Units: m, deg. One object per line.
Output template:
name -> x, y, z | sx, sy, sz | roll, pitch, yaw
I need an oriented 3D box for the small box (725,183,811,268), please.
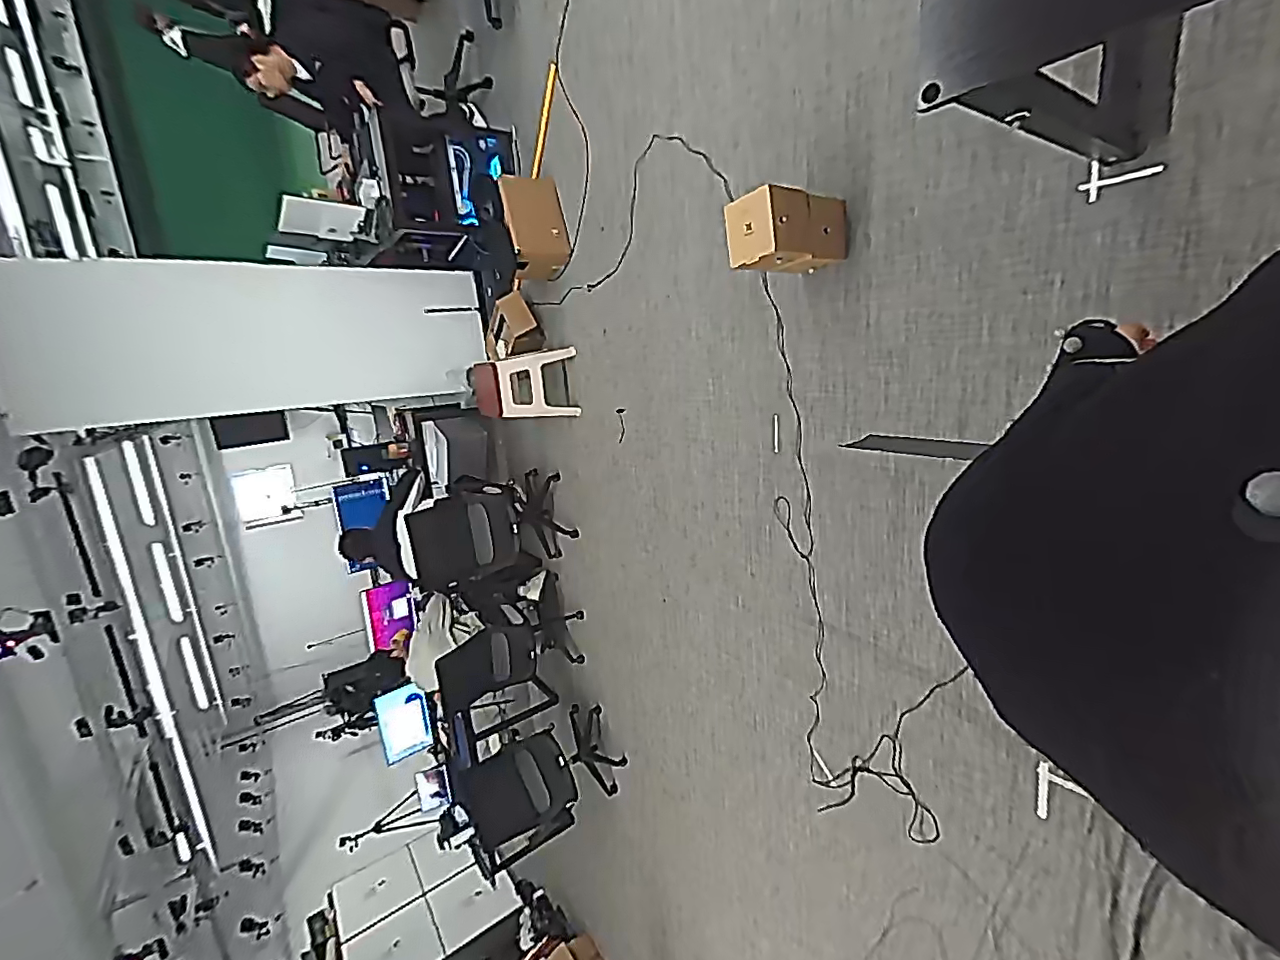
small box -> 0.366, -0.710, 1.527 | 0.168, 0.176, 0.179 | 2, 102, 54

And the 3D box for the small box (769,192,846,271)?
small box -> 0.498, -0.735, 1.618 | 0.168, 0.176, 0.179 | 8, 108, 54
